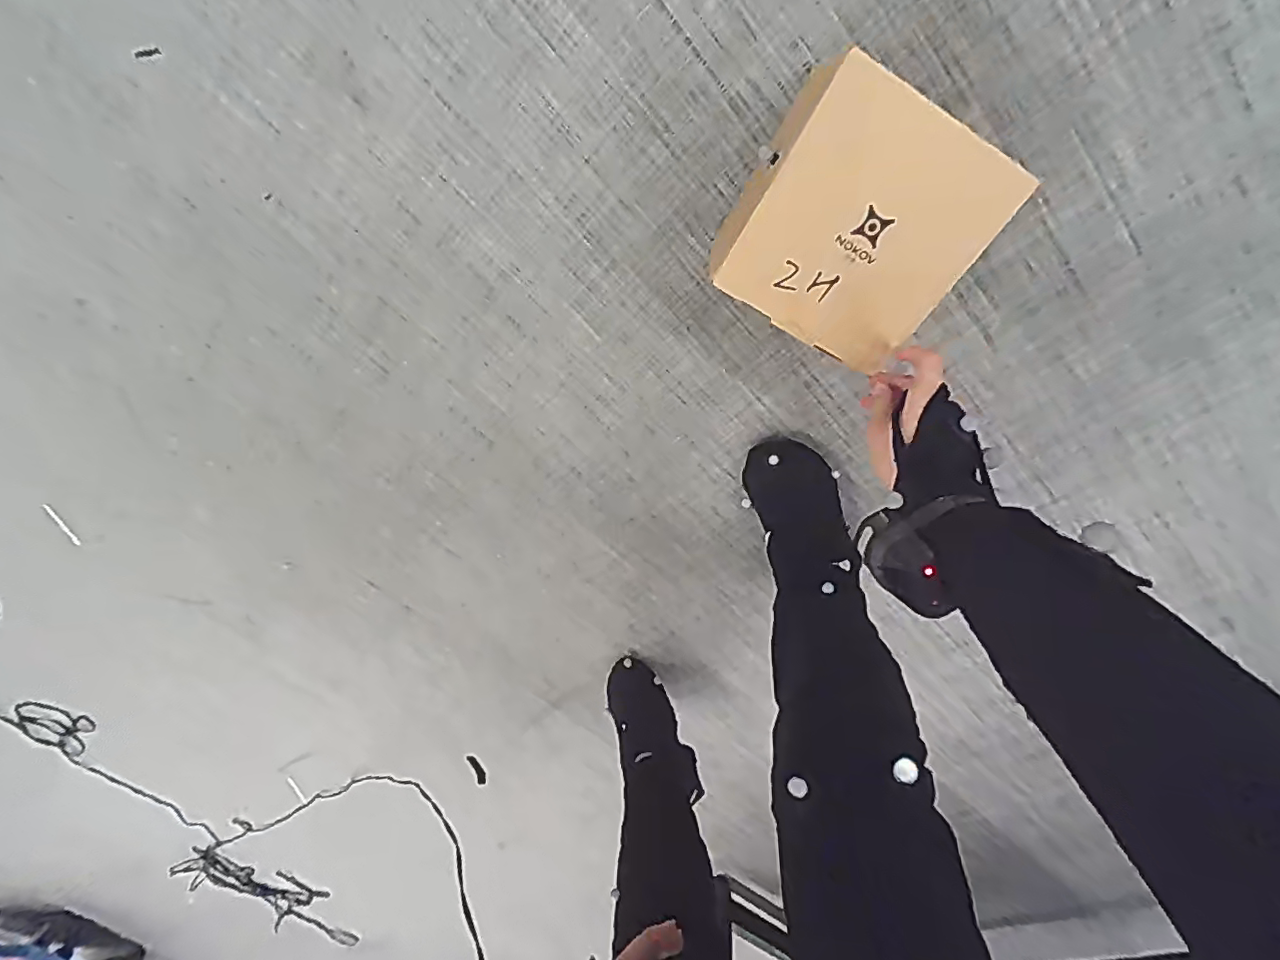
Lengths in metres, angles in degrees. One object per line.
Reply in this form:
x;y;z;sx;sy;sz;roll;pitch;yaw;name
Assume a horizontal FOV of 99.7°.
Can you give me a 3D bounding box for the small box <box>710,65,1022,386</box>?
0.174;-0.222;0.484;0.168;0.176;0.179;28;122;-9;small box
